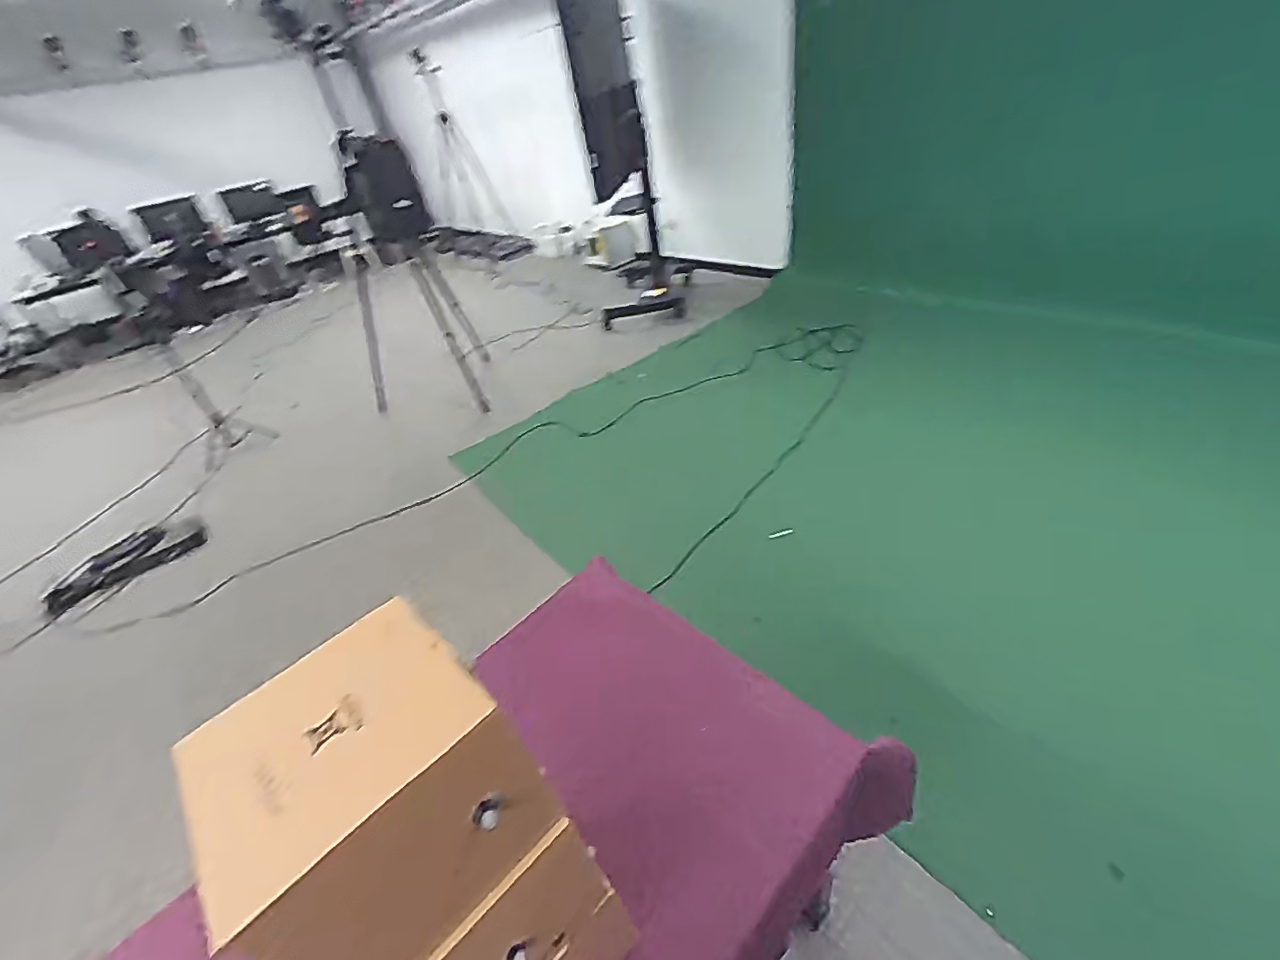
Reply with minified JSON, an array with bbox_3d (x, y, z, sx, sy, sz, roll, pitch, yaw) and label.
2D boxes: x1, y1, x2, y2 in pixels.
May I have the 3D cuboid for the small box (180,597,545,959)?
[{"bbox_3d":[-0.192,0.232,0.414,0.179,0.176,0.168,-37,42,-28],"label":"small box"}]

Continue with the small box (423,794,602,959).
[{"bbox_3d":[-0.158,0.360,0.511,0.168,0.176,0.179,-36,43,-29],"label":"small box"}]

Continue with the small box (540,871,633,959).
[{"bbox_3d":[-0.128,0.487,0.612,0.168,0.176,0.179,-36,44,-29],"label":"small box"}]
